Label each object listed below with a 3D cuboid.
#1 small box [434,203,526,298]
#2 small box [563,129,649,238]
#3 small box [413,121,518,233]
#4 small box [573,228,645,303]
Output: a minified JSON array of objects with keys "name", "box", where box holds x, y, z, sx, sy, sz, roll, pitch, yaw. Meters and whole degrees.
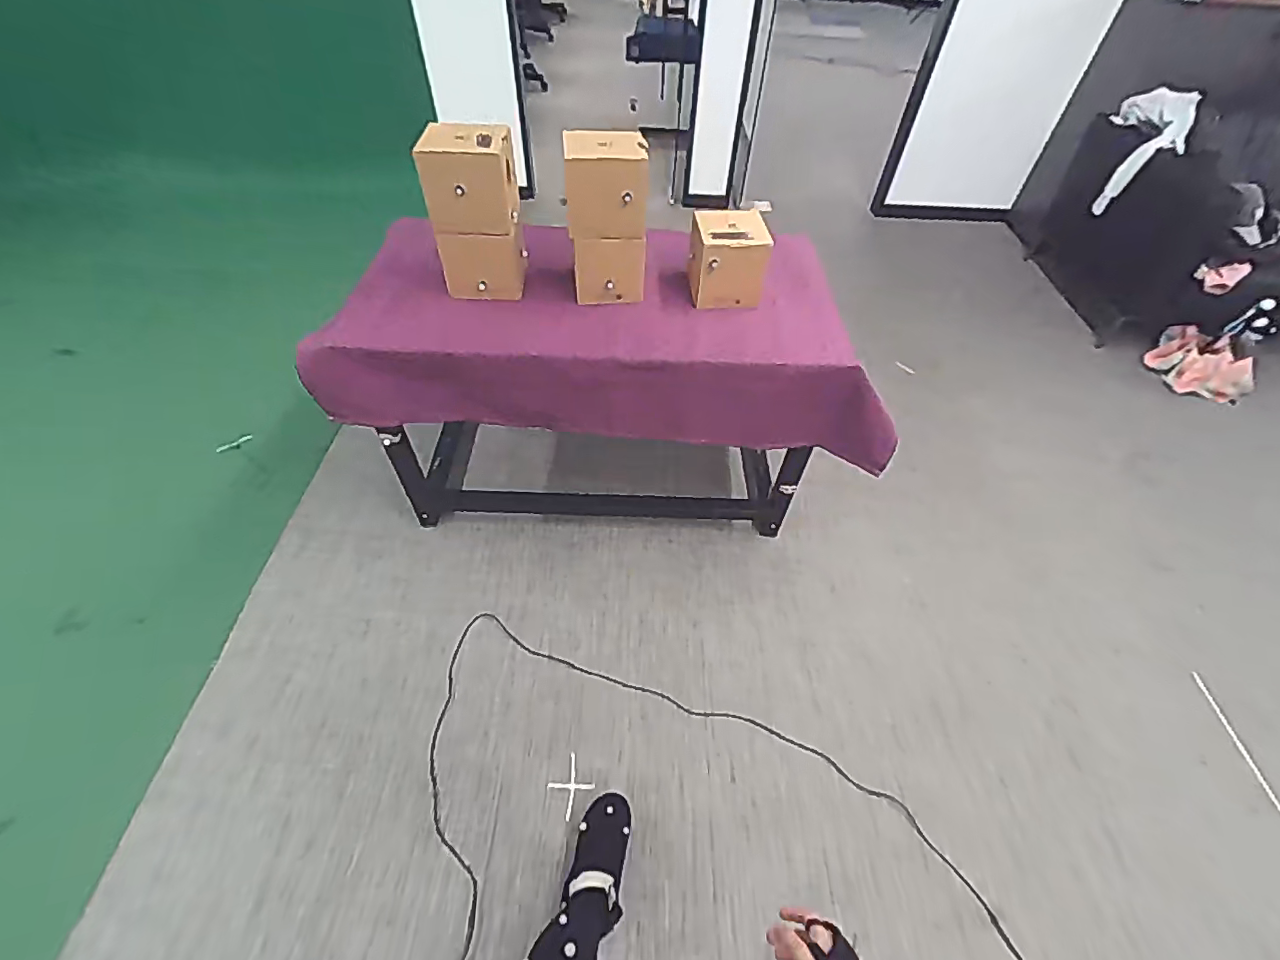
[{"name":"small box","box":[-0.380,-0.562,1.324,0.179,0.176,0.168,1,51,-3]},{"name":"small box","box":[-0.078,-0.659,1.208,0.179,0.176,0.168,-3,50,-4]},{"name":"small box","box":[-0.373,-0.666,1.196,0.179,0.176,0.168,0,51,-2]},{"name":"small box","box":[-0.081,-0.559,1.337,0.168,0.176,0.179,-4,52,-5]}]
